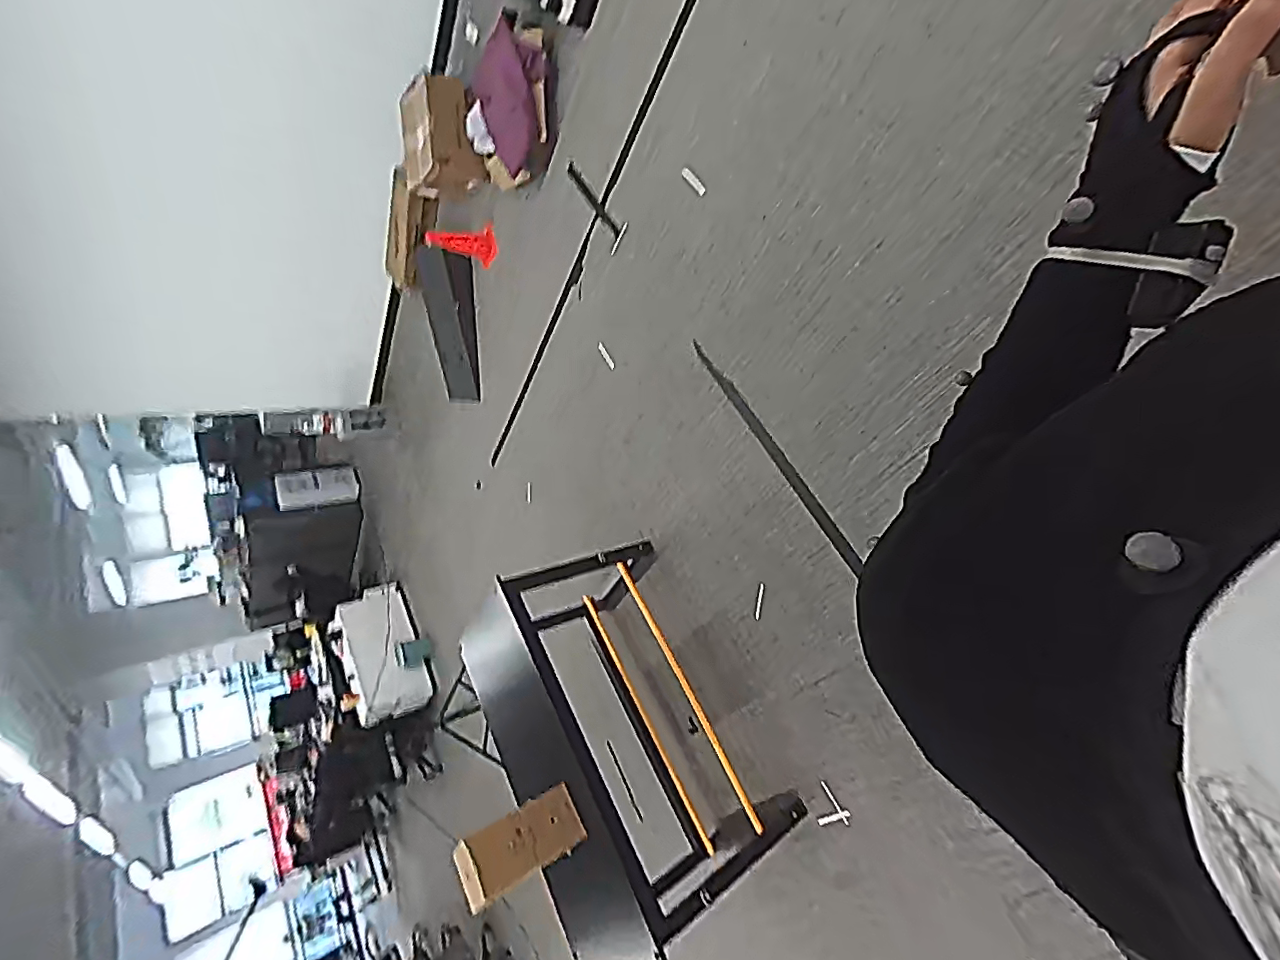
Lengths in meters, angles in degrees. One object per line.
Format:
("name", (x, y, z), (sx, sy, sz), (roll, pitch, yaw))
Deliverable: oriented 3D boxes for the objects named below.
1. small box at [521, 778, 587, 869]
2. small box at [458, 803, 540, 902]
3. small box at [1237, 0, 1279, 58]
("small box", (-0.288, 1.076, 1.702), (0.168, 0.176, 0.179), (56, 134, 27))
("small box", (-0.417, 1.099, 1.600), (0.168, 0.176, 0.179), (55, 134, 28))
("small box", (0.424, -0.356, 0.266), (0.179, 0.176, 0.168), (1, 105, 50))
